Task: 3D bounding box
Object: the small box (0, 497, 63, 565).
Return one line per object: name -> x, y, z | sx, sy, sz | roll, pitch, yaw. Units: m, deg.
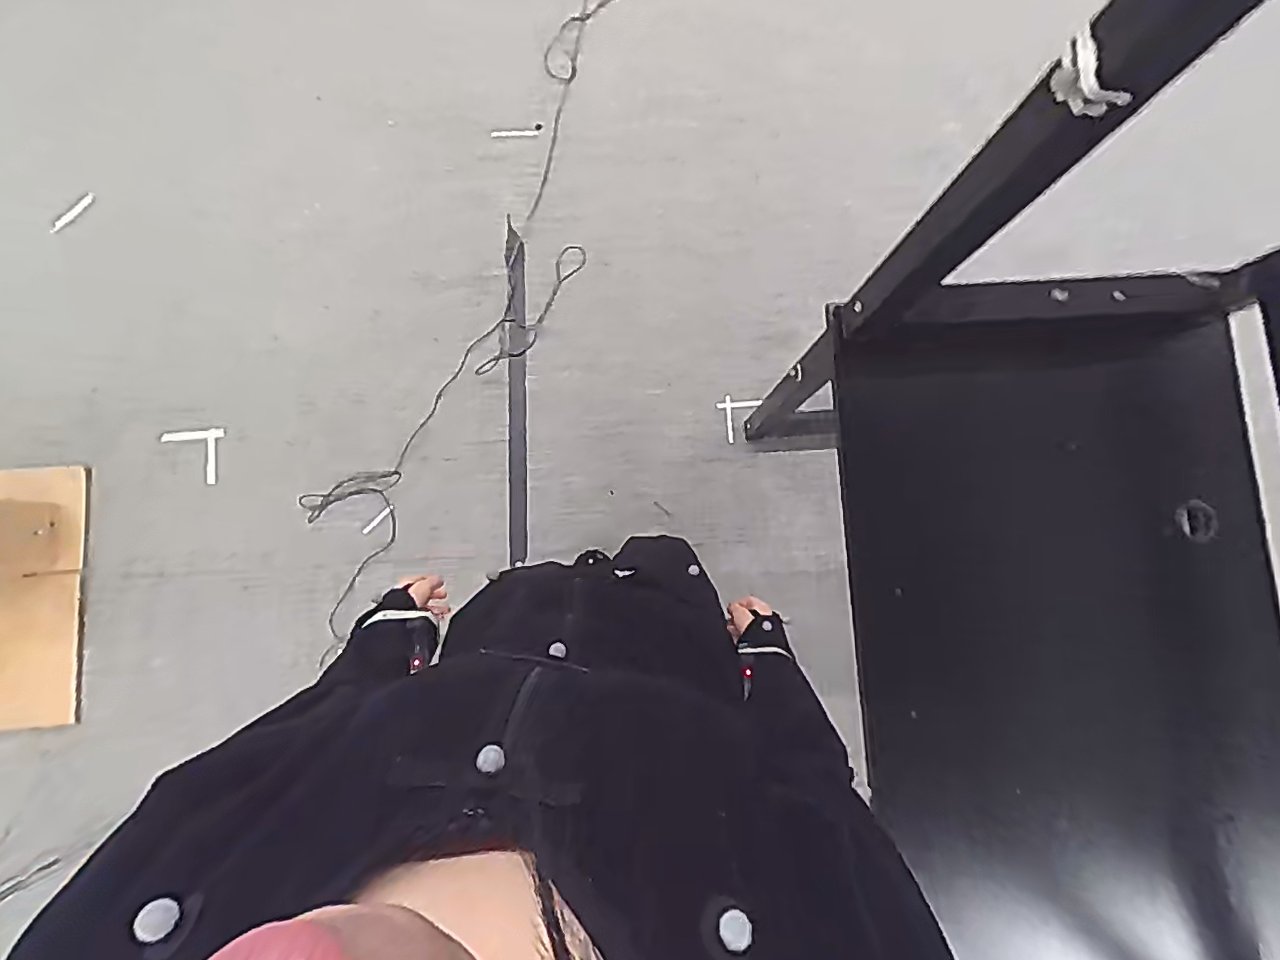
small box -> -1.669, 0.136, 1.394 | 0.179, 0.176, 0.168 | -3, 84, -2
